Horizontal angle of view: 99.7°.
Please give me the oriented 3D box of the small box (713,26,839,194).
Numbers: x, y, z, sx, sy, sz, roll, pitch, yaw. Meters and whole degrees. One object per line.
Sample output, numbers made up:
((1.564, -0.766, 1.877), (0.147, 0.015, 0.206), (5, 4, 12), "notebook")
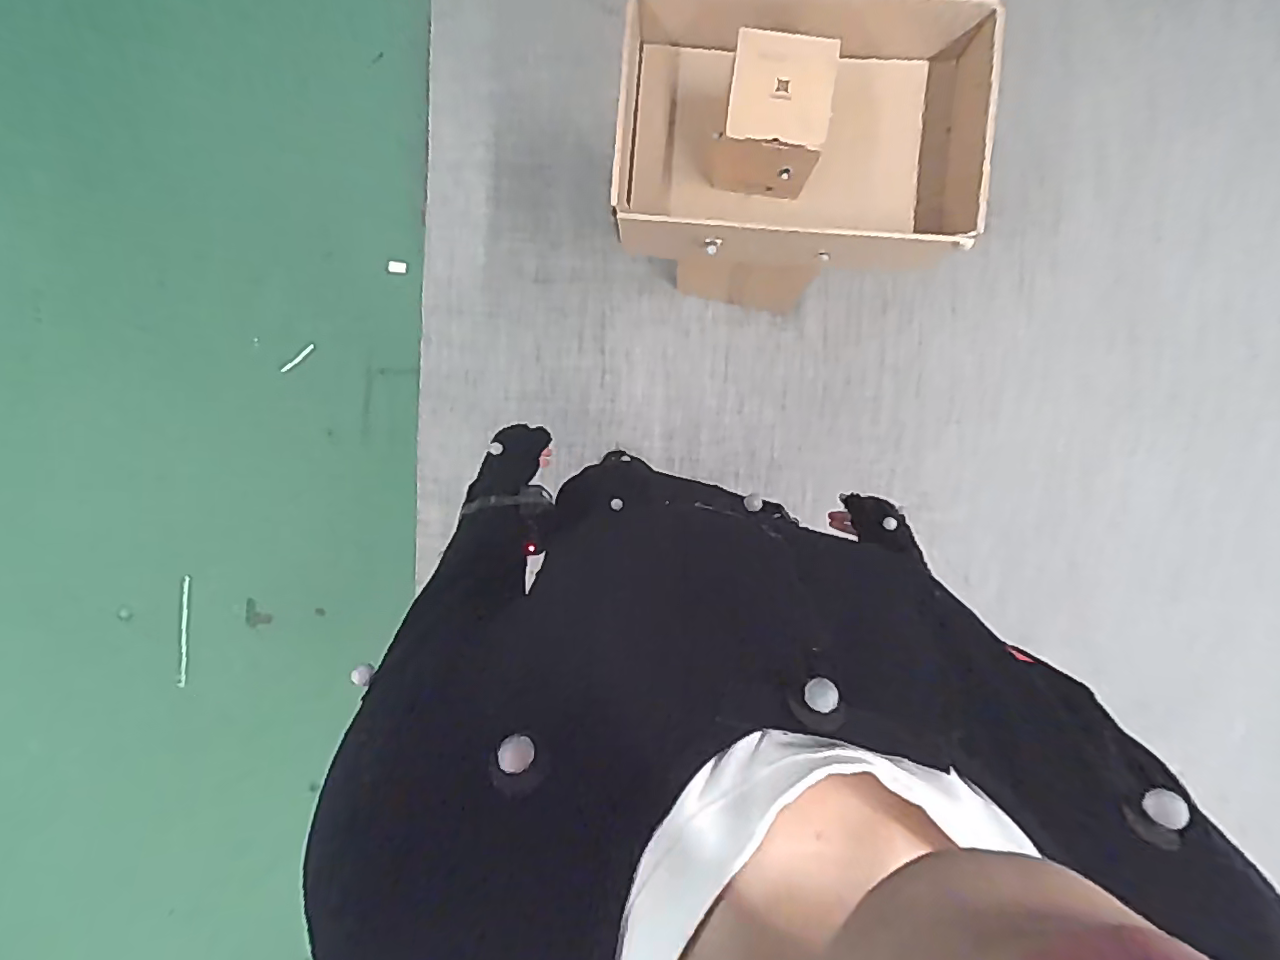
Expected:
((0.226, -0.630, 0.944), (0.168, 0.176, 0.179), (7, 90, -1), "small box")
